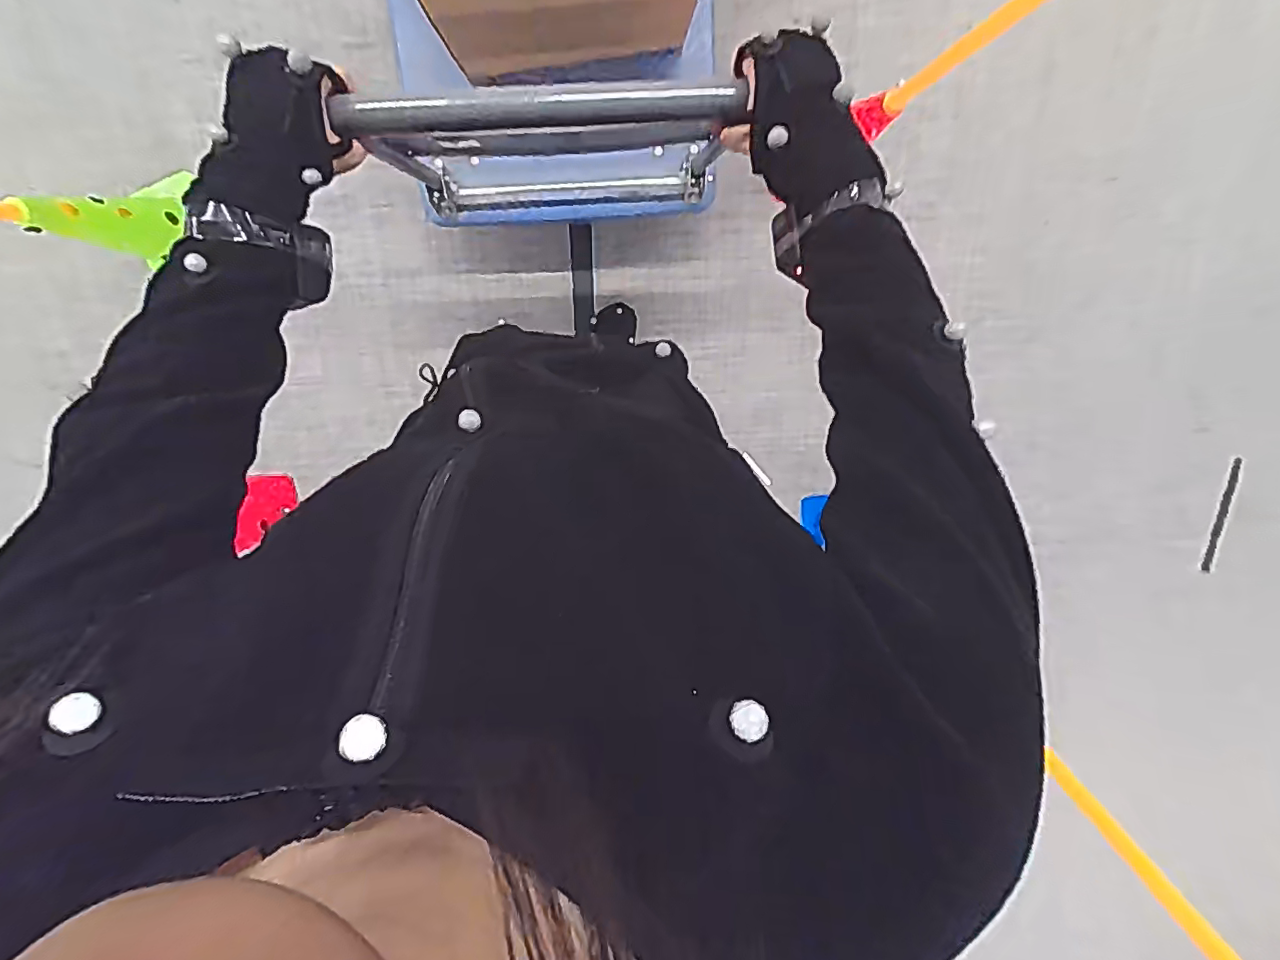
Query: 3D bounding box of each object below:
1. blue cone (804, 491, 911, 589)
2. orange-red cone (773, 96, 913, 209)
[{"bbox_3d":[0.566,0.178,1.357,0.193,0.380,0.192,-6,108,-2],"label":"blue cone"},{"bbox_3d":[0.420,-0.668,1.050,0.199,0.360,0.198,4,109,-6],"label":"orange-red cone"}]
